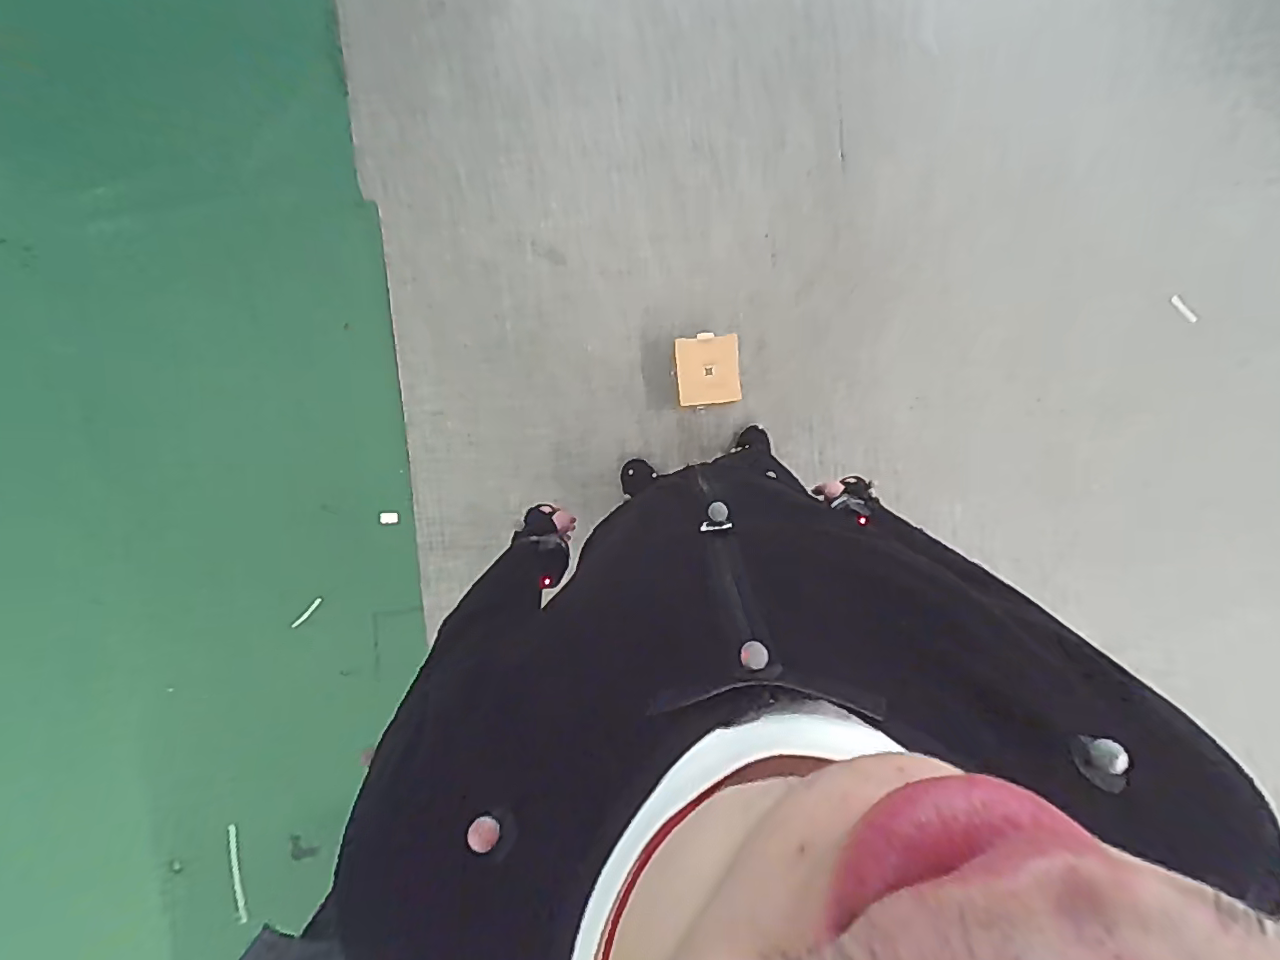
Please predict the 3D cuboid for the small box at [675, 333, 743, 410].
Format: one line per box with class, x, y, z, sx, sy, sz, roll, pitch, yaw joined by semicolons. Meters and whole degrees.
small box;0.182;-0.289;1.466;0.168;0.176;0.179;-3;93;2
